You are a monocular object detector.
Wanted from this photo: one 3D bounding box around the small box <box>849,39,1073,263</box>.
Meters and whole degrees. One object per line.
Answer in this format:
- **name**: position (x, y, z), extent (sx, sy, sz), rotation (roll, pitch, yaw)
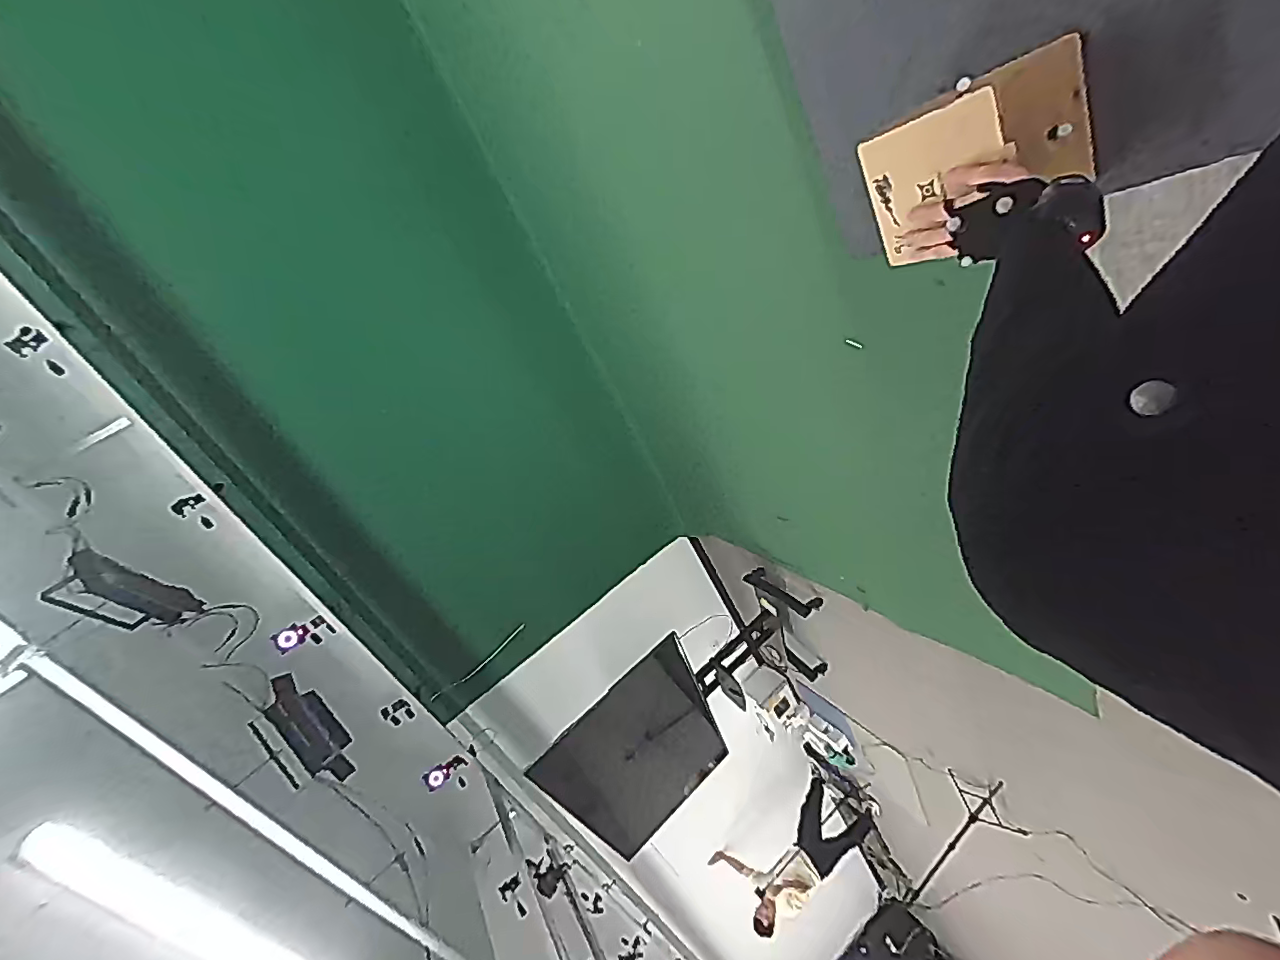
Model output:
- **small box**: position (0.405, -0.402, 0.678), extent (0.179, 0.176, 0.168), rotation (18, 141, 59)
